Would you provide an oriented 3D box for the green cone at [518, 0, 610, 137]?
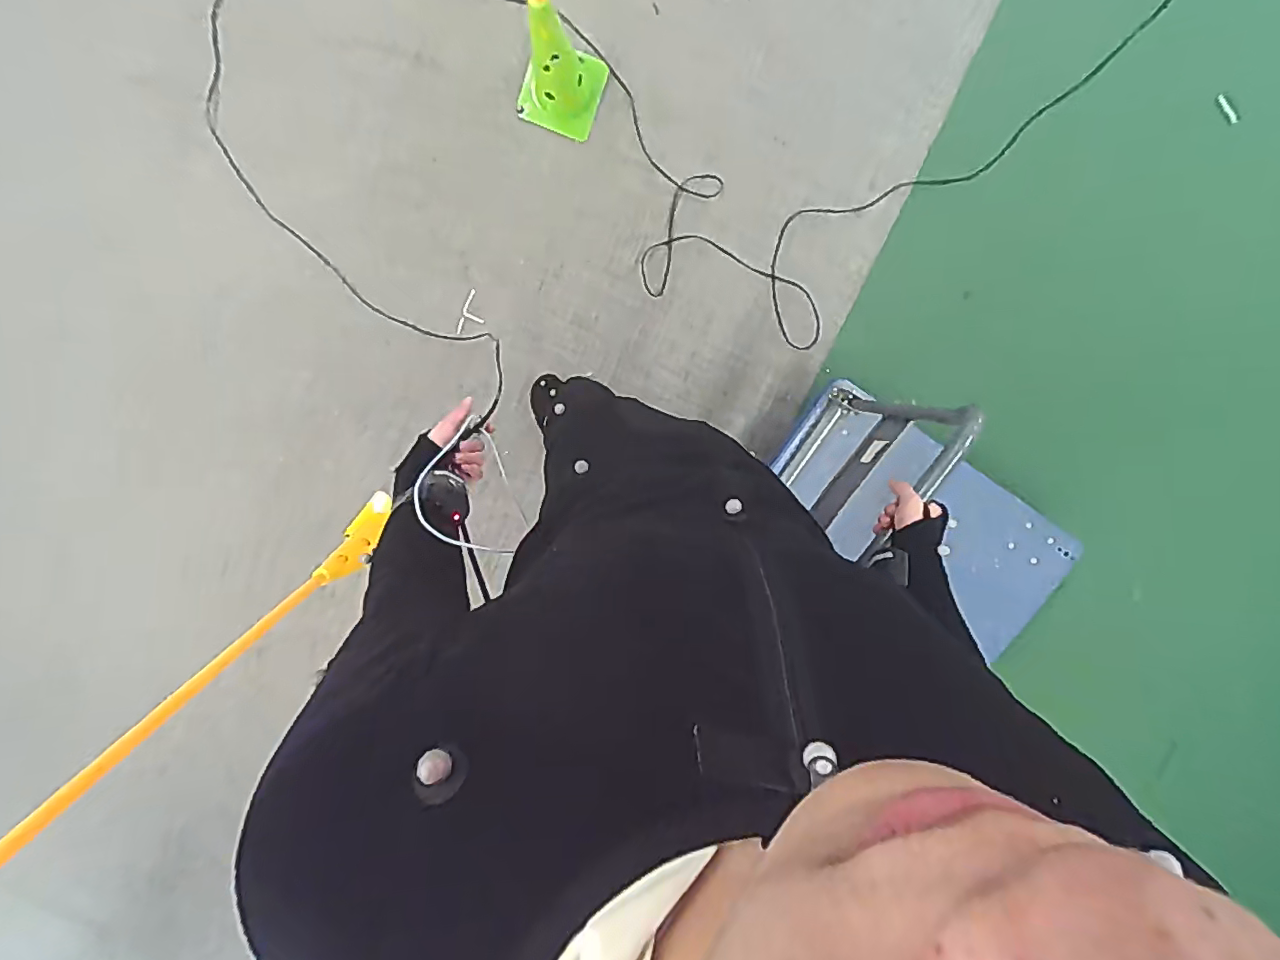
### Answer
[{"bbox_3d":[-0.194,-0.983,1.222,0.200,0.368,0.202,20,99,-4],"label":"green cone"}]
